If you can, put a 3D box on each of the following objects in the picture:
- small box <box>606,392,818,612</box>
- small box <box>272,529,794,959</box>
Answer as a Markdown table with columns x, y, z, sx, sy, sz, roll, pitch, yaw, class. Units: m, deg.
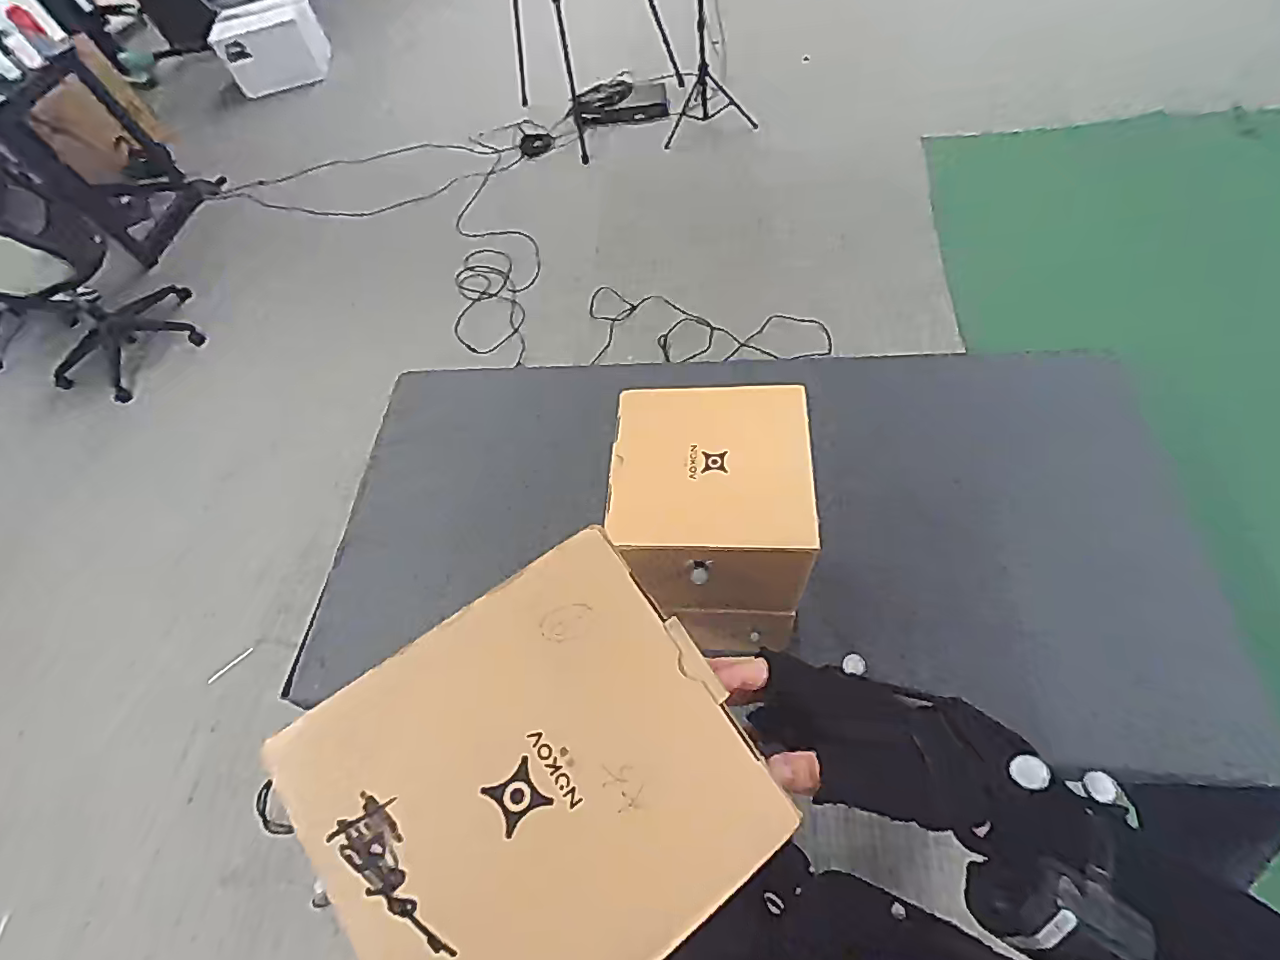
| x | y | z | sx | sy | sz | roll | pitch | yaw | class |
| --- | --- | --- | --- | --- | --- | --- | --- | --- | --- |
| 0.072 | 0.028 | 0.545 | 0.179 | 0.176 | 0.168 | -1 | 59 | 10 | small box |
| -0.052 | 0.156 | 0.311 | 0.179 | 0.176 | 0.168 | -32 | 76 | -15 | small box |
